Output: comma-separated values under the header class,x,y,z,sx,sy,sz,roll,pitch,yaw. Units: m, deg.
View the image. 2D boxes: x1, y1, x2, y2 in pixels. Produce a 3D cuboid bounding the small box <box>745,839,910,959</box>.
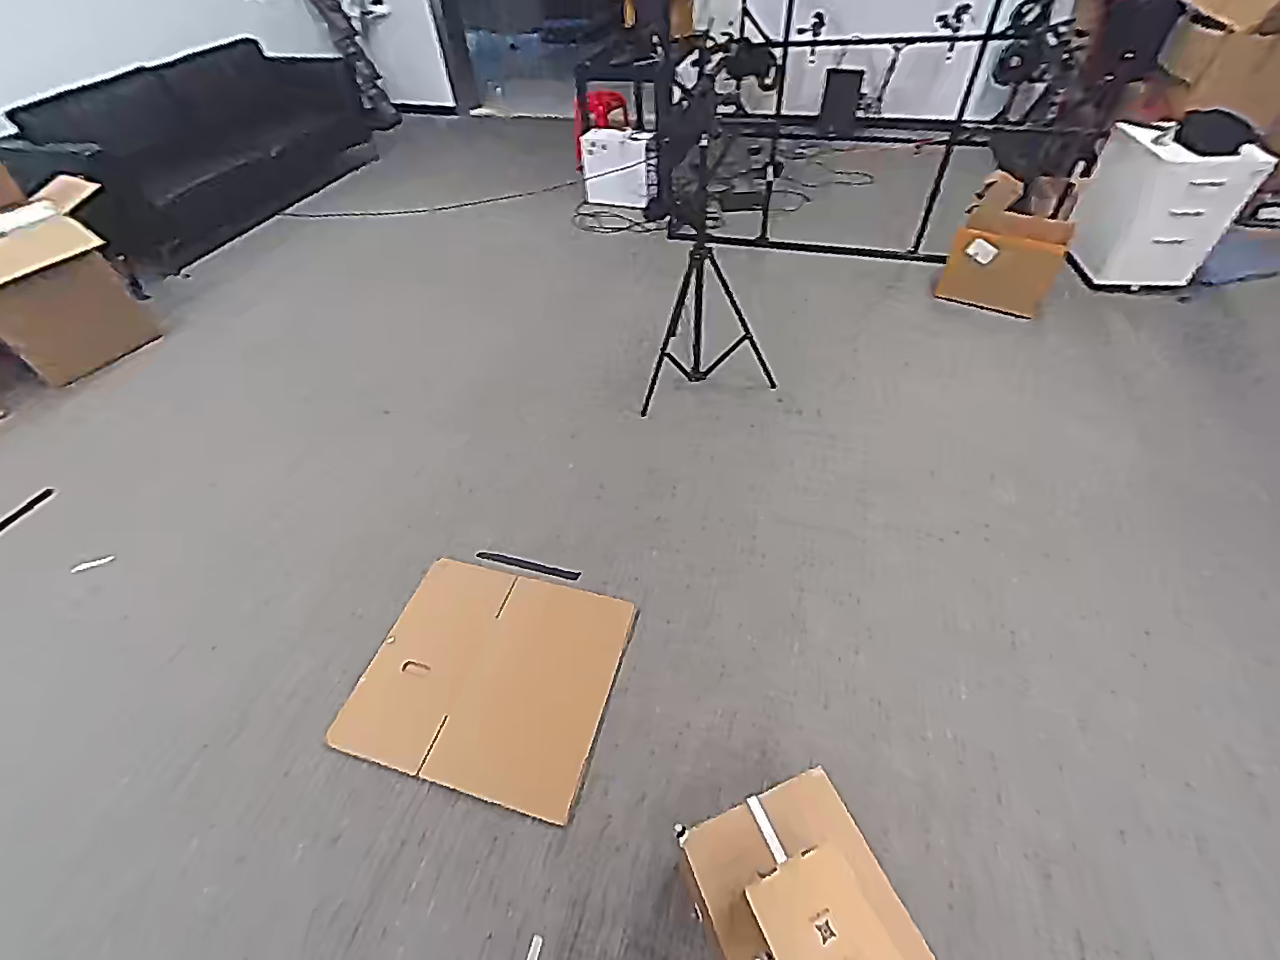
class,x,y,z,sx,sy,sz,roll,pitch,yaw
small box,0.274,0.694,0.826,0.168,0.176,0.179,-22,50,-13
